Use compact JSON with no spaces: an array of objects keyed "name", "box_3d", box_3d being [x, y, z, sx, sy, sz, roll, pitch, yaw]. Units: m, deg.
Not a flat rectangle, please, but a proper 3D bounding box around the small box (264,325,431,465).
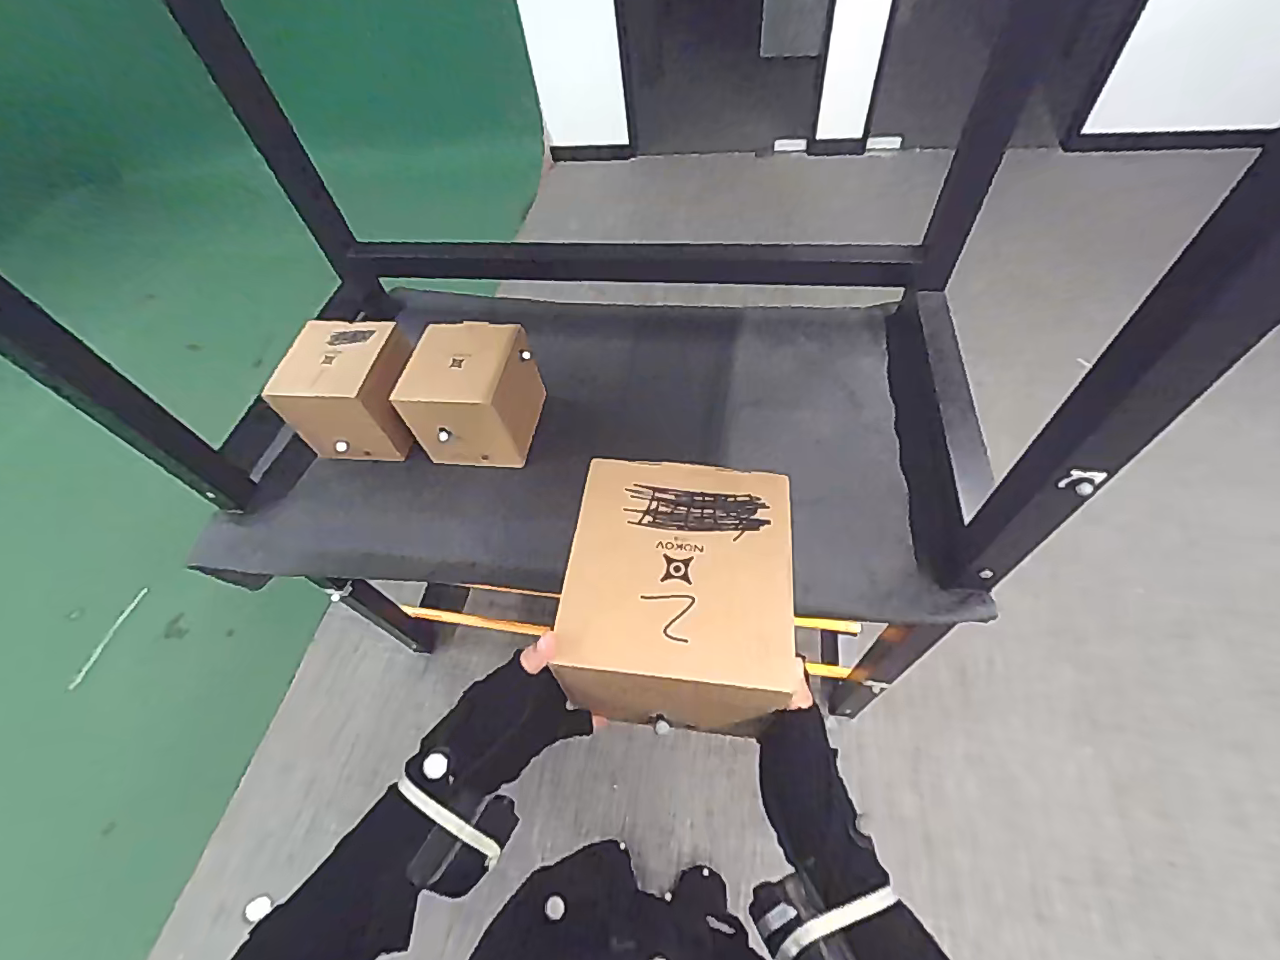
[{"name":"small box","box_3d":[-0.492,-0.147,0.945,0.168,0.176,0.179,2,56,9]}]
